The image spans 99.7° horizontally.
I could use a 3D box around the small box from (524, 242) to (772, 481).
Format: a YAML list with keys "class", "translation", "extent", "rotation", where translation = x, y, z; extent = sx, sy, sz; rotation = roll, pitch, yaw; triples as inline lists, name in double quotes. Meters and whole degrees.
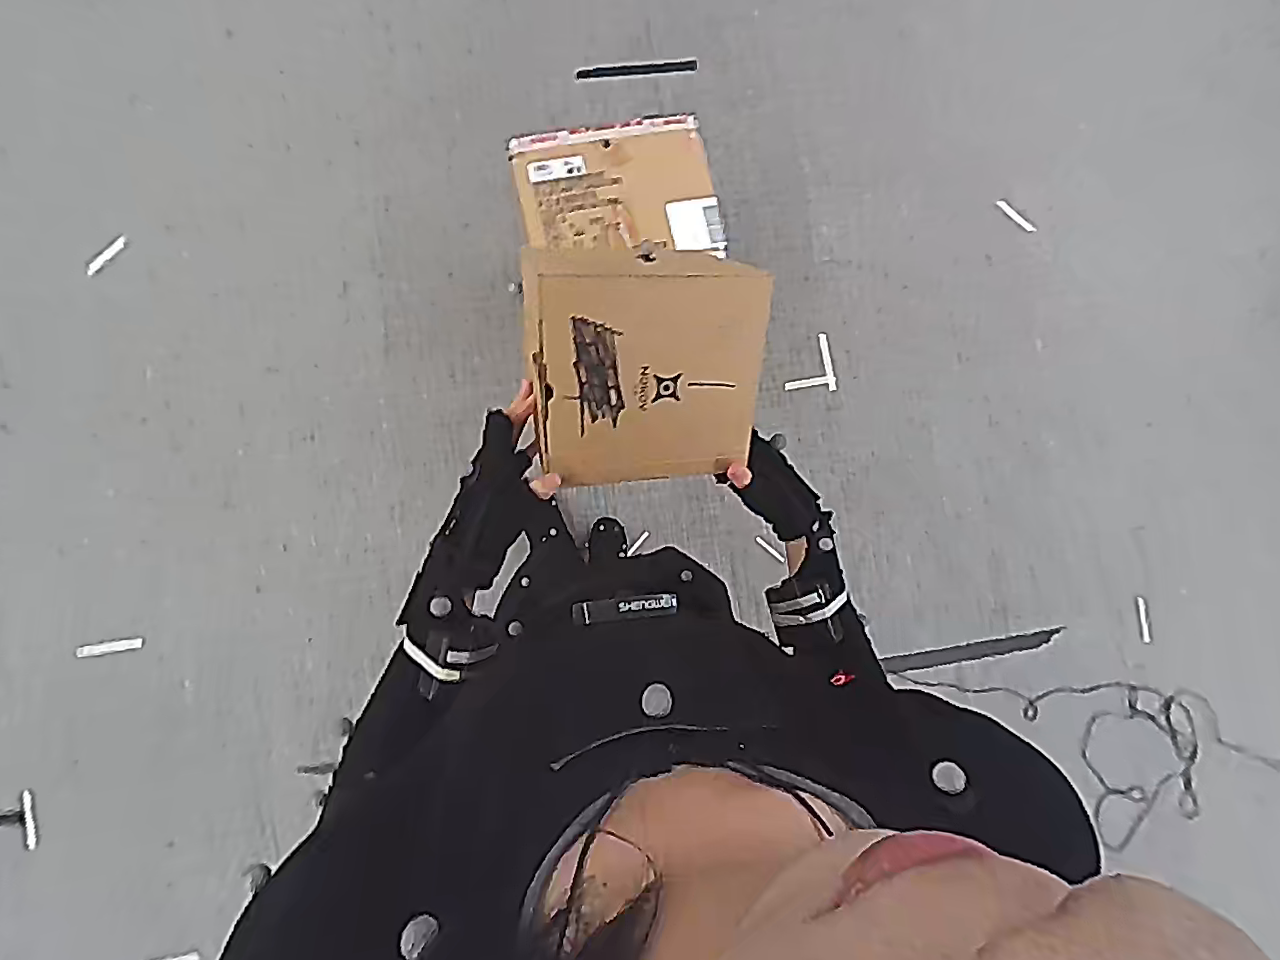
- class: "small box"
  translation: [-0.009, -0.115, 0.482]
  extent: [0.179, 0.176, 0.168]
  rotation: [-6, 119, -15]
